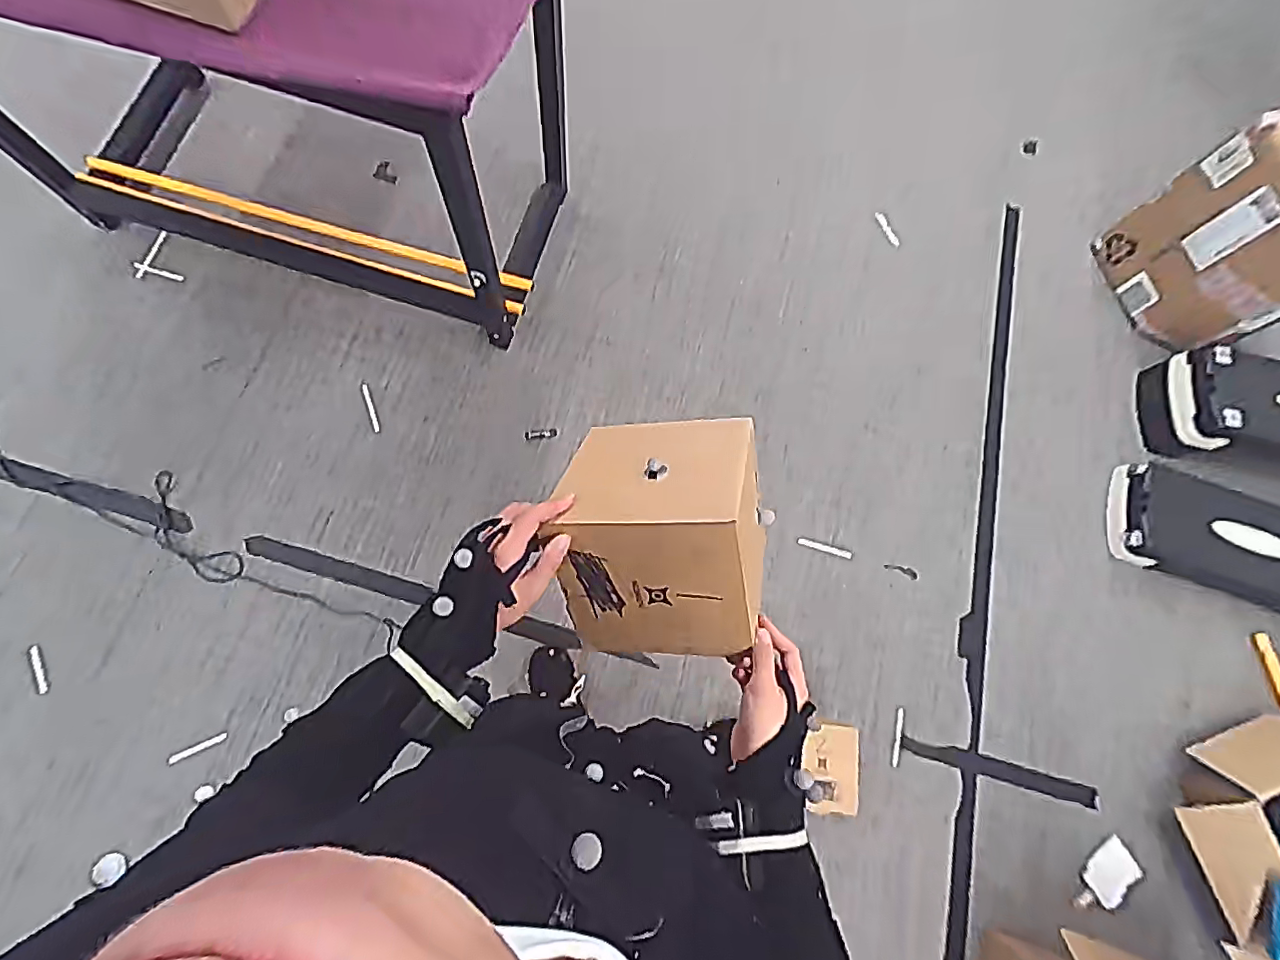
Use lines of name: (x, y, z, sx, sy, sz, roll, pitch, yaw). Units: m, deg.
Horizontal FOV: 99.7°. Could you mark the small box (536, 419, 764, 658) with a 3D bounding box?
small box: (0.026, 0.052, 0.540, 0.179, 0.168, 0.176, -3, 36, 18)
